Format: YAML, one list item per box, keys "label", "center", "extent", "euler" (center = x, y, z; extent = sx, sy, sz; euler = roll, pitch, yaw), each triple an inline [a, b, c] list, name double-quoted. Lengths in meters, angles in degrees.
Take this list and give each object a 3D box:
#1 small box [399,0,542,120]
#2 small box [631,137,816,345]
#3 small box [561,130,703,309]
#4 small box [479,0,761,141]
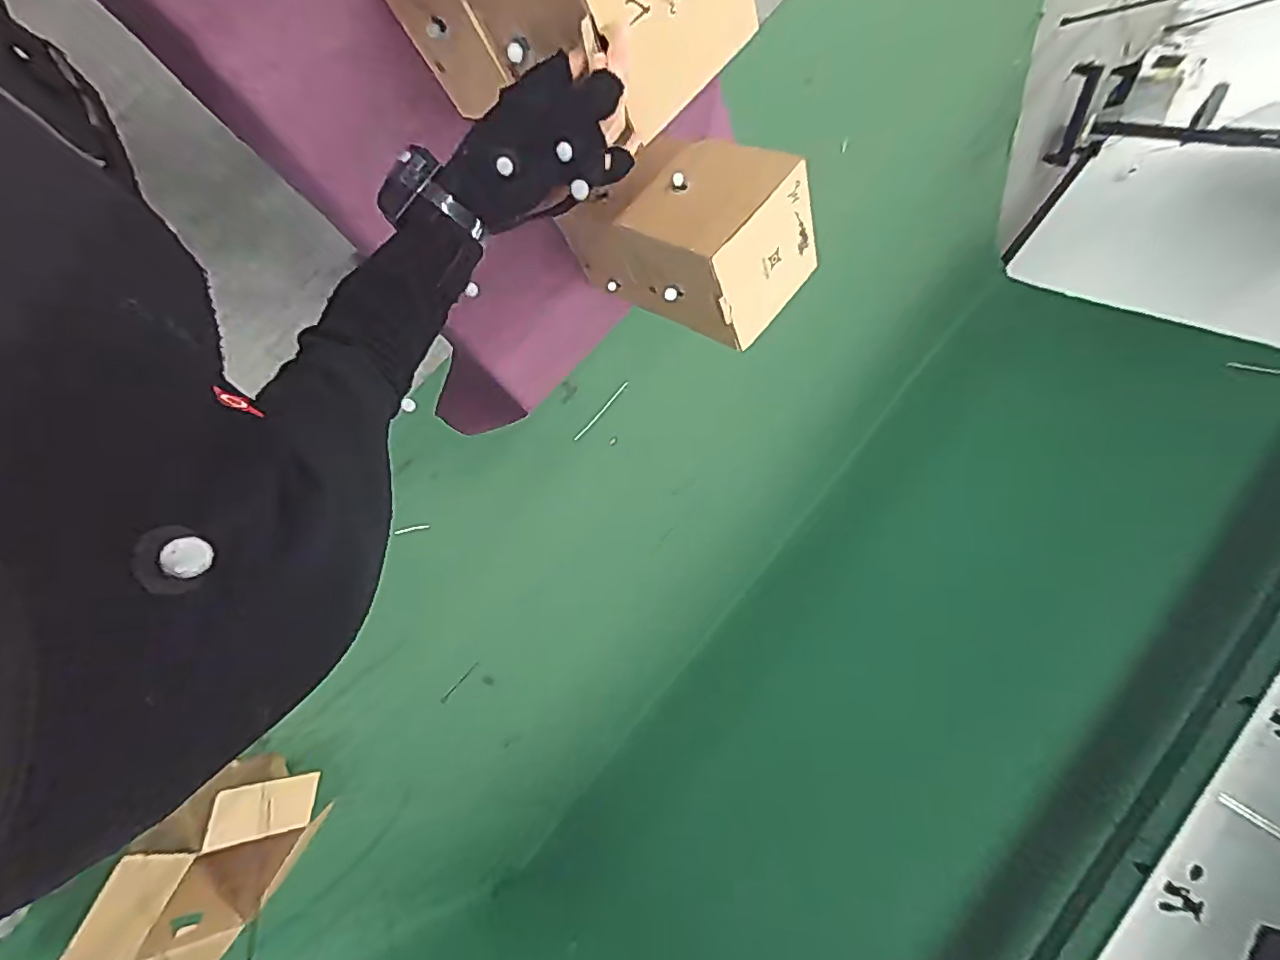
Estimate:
- label: "small box"
  center: [-0.139, -0.516, 0.561]
  extent: [0.179, 0.176, 0.168]
  euler: [-50, 145, -6]
- label: "small box"
  center: [0.109, -0.322, 0.727]
  extent: [0.179, 0.176, 0.168]
  euler: [-47, 146, -7]
- label: "small box"
  center: [0.003, -0.400, 0.825]
  extent: [0.179, 0.176, 0.168]
  euler: [-48, 145, -8]
- label: "small box"
  center: [-0.024, -0.439, 0.471]
  extent: [0.179, 0.176, 0.168]
  euler: [-48, 145, -9]
